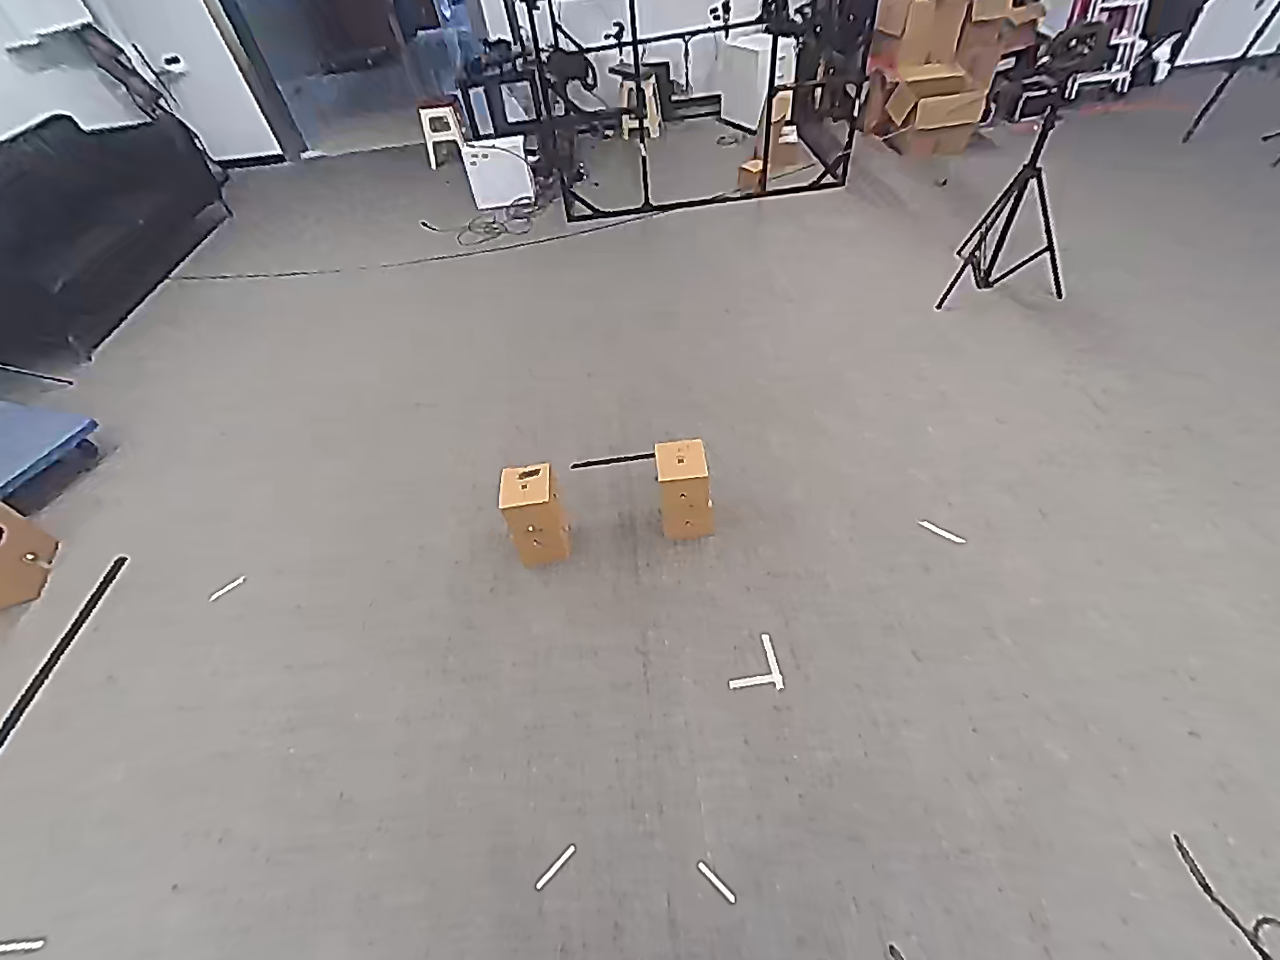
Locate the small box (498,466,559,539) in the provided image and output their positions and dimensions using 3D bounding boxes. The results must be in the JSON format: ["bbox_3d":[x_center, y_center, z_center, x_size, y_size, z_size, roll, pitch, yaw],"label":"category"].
[{"bbox_3d":[-0.374,0.079,1.844,0.168,0.176,0.179,-8,49,1],"label":"small box"}]

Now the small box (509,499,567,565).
[{"bbox_3d":[-0.364,0.190,1.964,0.179,0.176,0.168,-8,48,1],"label":"small box"}]

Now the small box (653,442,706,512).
[{"bbox_3d":[0.137,-0.004,1.852,0.168,0.176,0.179,-6,48,2],"label":"small box"}]
